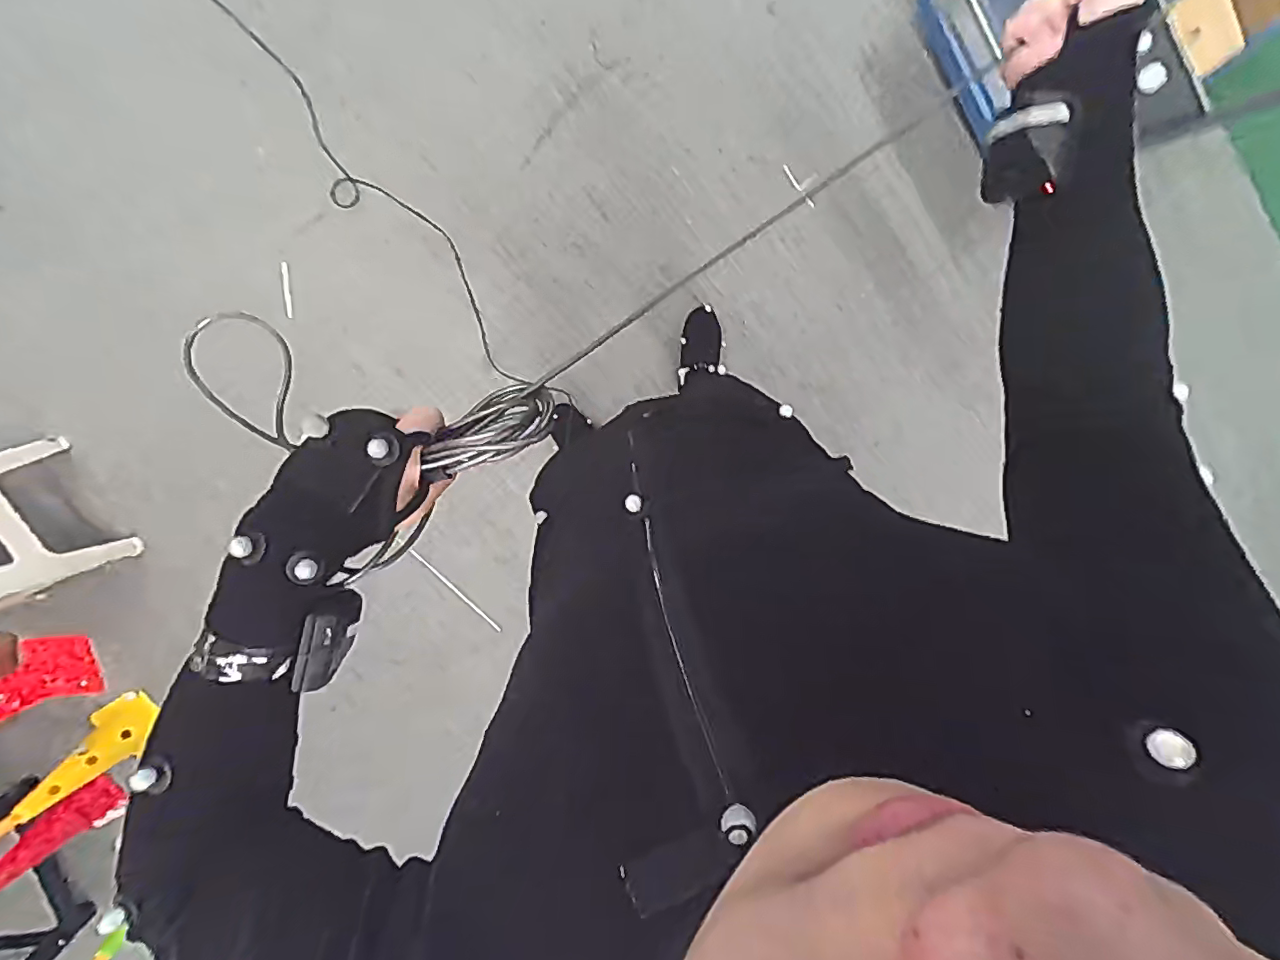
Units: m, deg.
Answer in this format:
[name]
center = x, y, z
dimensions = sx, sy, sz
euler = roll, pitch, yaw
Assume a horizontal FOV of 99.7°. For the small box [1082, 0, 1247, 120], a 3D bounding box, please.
[small box]
center = 1.140, -0.945, 1.188
dimensions = 0.179, 0.176, 0.168
euler = -35, 103, 7
